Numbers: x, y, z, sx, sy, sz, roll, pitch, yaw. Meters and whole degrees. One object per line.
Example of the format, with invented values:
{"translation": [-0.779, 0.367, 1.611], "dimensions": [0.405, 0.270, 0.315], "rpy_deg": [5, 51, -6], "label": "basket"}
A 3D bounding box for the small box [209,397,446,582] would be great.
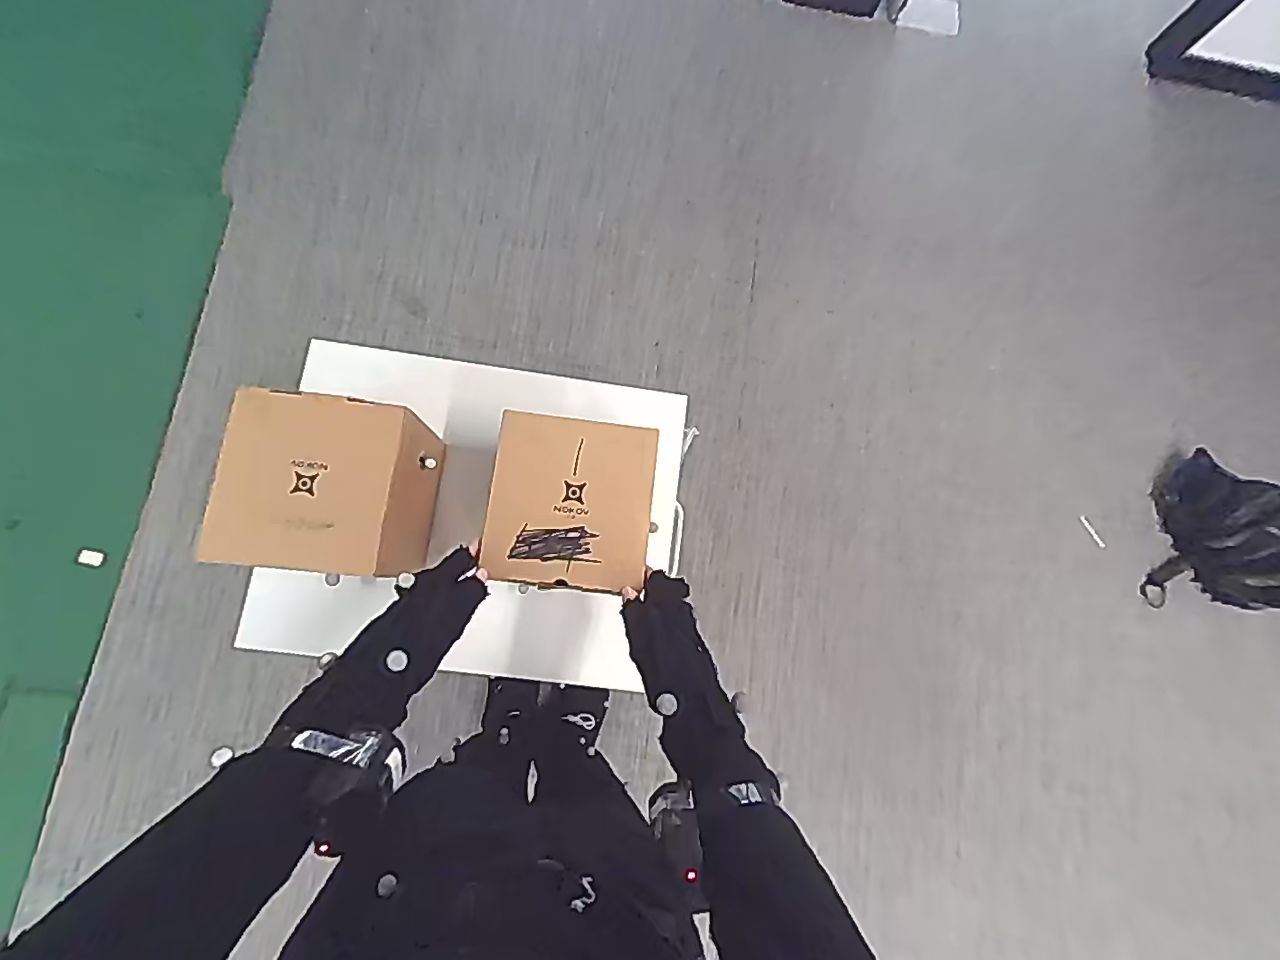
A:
{"translation": [-0.330, 0.021, 0.612], "dimensions": [0.168, 0.176, 0.179], "rpy_deg": [4, 81, -4], "label": "small box"}

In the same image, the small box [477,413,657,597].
{"translation": [-0.076, 0.038, 0.628], "dimensions": [0.168, 0.176, 0.179], "rpy_deg": [6, 79, -3], "label": "small box"}
